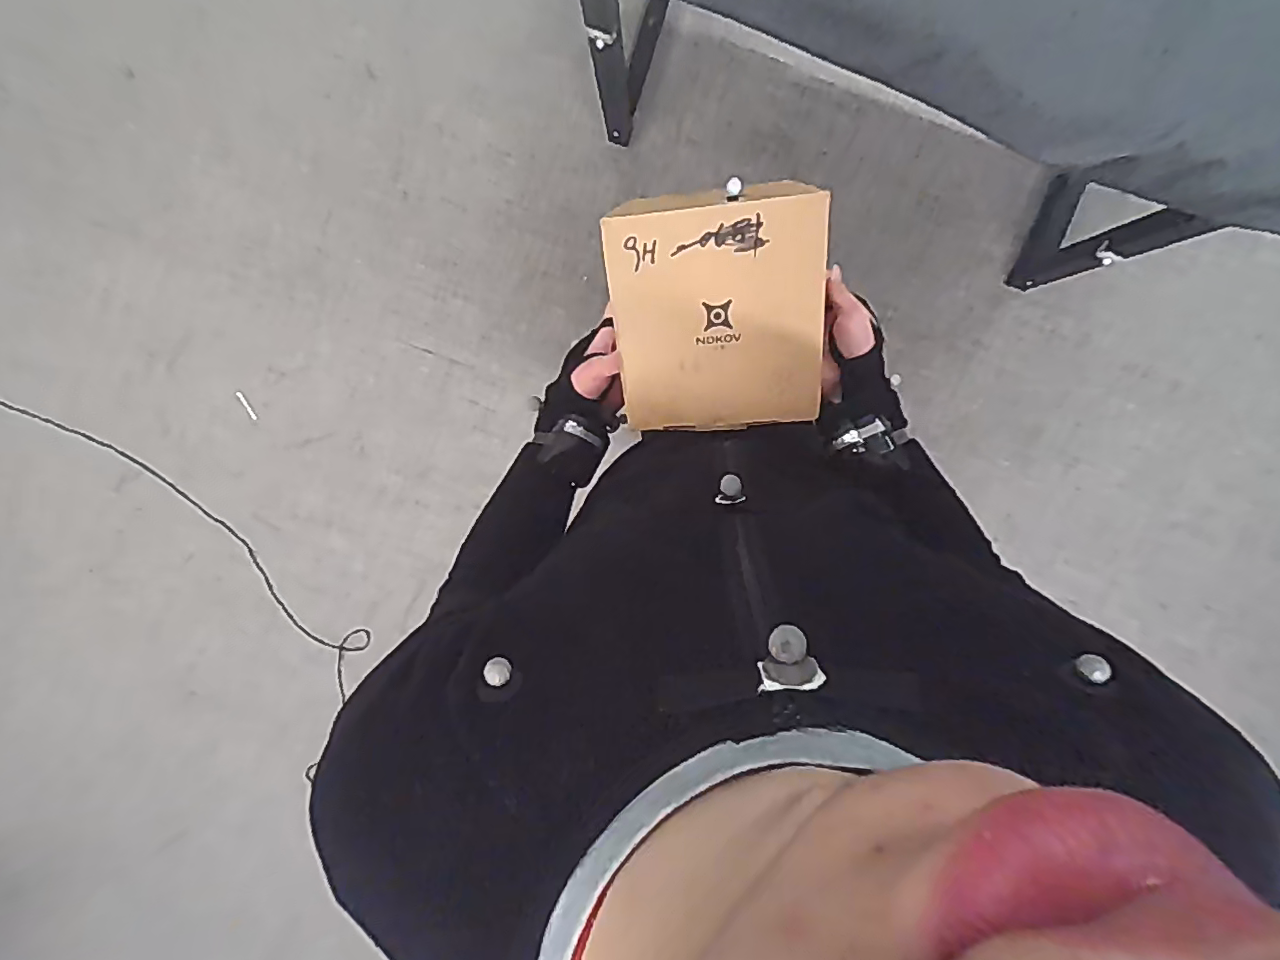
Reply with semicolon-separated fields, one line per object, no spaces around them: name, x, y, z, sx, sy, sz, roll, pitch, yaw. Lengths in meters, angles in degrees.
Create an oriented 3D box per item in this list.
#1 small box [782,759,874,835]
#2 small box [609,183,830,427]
small box;0.560;0.989;1.634;0.179;0.176;0.168;32;96;-3
small box;0.072;-0.167;0.509;0.168;0.176;0.179;-3;122;7
